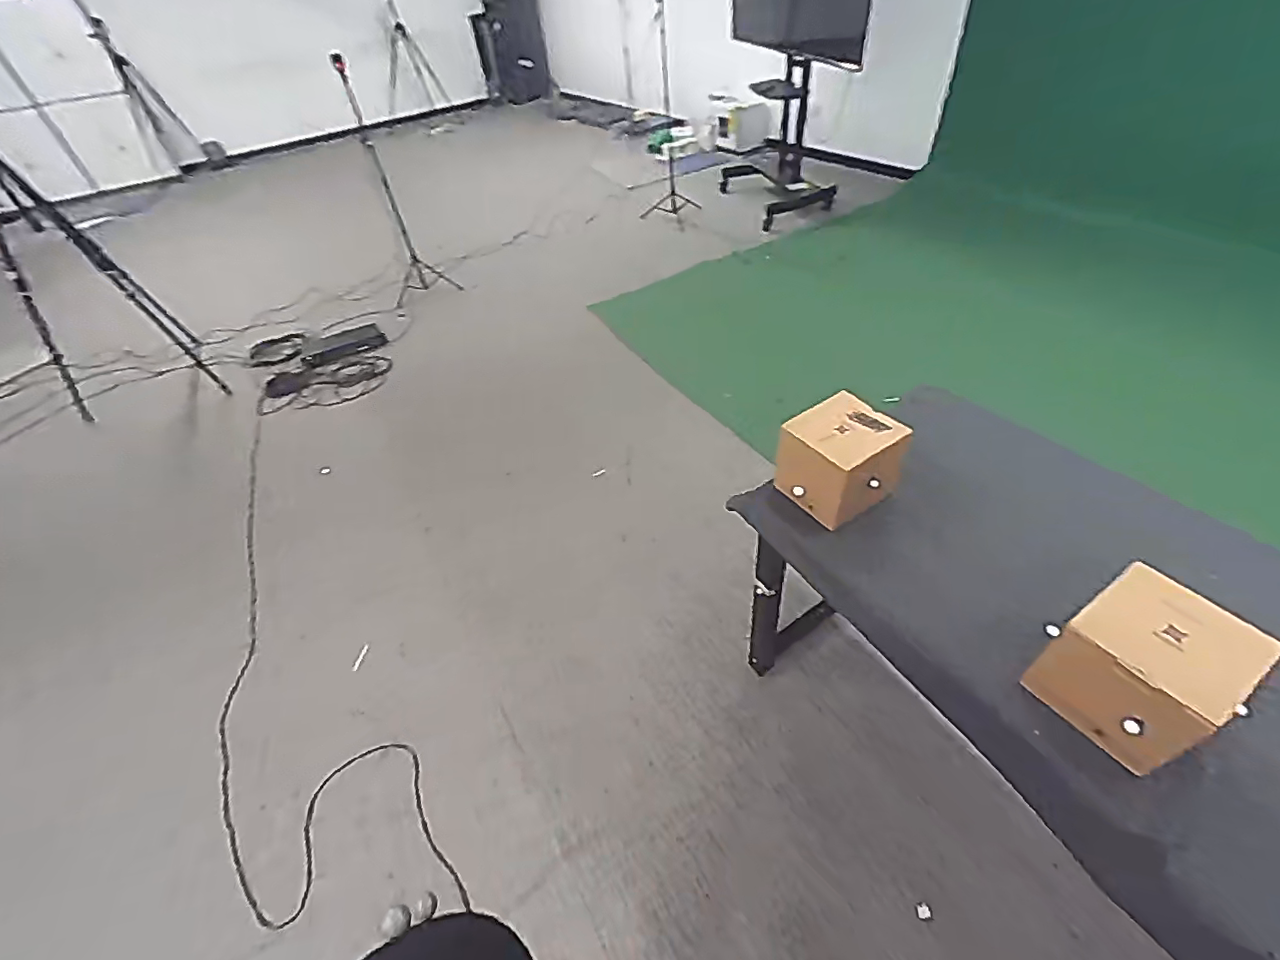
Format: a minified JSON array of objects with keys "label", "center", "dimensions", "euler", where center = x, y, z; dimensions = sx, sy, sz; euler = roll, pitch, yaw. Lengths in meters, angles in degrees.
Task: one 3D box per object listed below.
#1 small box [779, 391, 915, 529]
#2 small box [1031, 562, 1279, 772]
[{"label":"small box","center":[0.392,-0.039,1.057],"dimensions":[0.179,0.176,0.168],"euler":[-28,48,-19]},{"label":"small box","center":[0.673,0.251,0.725],"dimensions":[0.179,0.176,0.168],"euler":[-27,48,-21]}]
